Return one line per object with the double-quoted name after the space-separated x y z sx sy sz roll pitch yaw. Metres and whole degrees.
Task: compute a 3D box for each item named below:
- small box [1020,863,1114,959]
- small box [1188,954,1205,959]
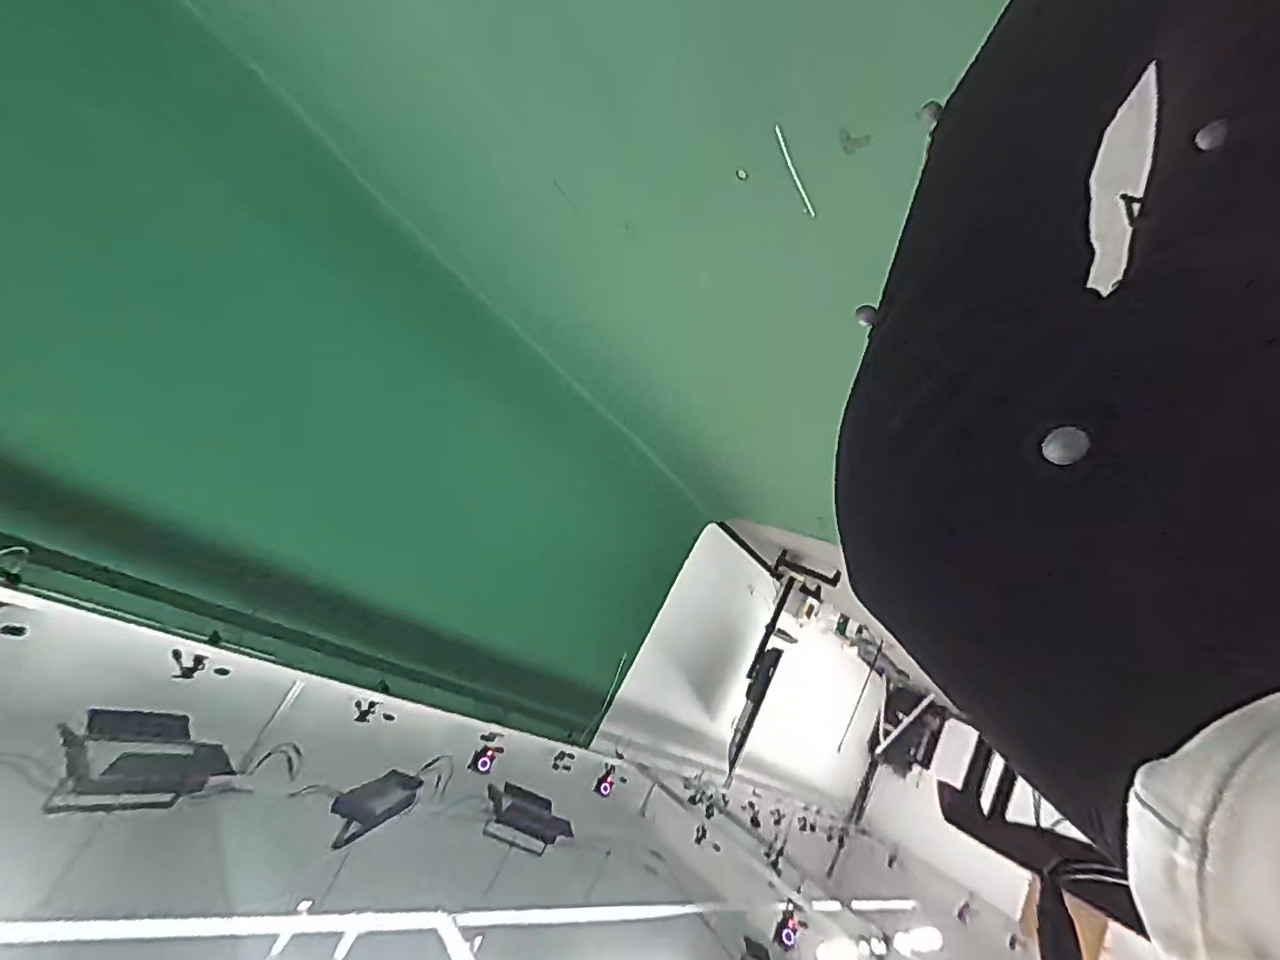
1.192 1.213 1.508 0.179 0.176 0.168 16 162 44 "small box"
1.397 1.263 1.261 0.179 0.176 0.168 15 162 43 "small box"
